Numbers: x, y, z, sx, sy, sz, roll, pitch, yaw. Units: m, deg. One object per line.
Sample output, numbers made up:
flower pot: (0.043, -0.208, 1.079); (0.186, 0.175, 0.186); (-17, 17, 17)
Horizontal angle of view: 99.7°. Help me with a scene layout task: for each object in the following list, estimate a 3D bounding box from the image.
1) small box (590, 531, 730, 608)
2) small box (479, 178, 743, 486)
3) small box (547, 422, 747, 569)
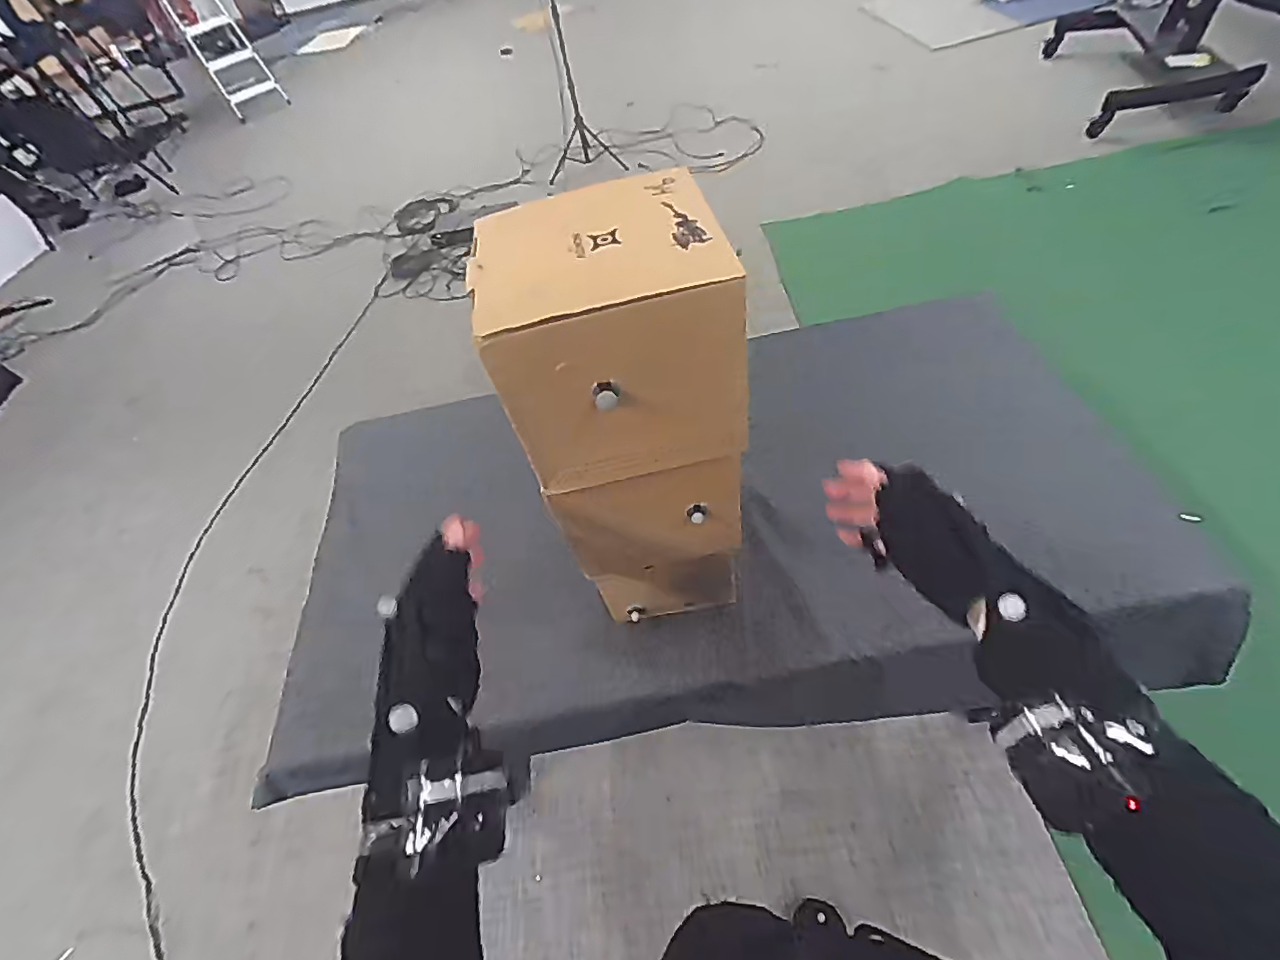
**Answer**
small box: (0.024, 0.058, 0.722); (0.168, 0.176, 0.179); (-10, 52, 3)
small box: (-0.019, -0.117, 0.453); (0.179, 0.176, 0.168); (-15, 51, -1)
small box: (0.001, -0.030, 0.567); (0.179, 0.176, 0.168); (-15, 53, -1)
